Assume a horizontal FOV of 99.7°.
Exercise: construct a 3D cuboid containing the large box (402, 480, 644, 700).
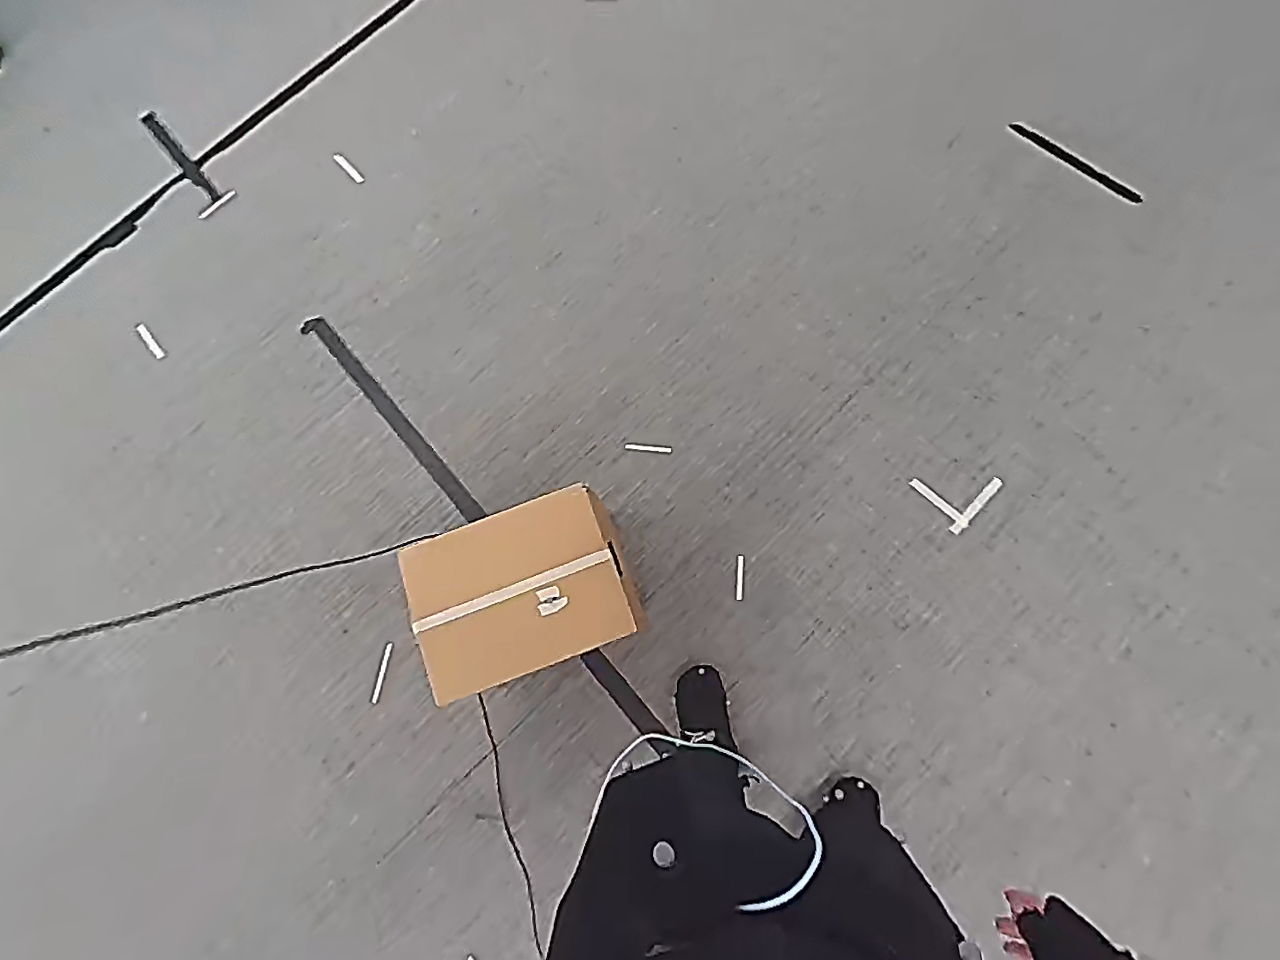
[{"bbox_3d":[-0.233,0.240,1.193,0.408,0.320,0.320,-20,78,-1],"label":"large box"}]
